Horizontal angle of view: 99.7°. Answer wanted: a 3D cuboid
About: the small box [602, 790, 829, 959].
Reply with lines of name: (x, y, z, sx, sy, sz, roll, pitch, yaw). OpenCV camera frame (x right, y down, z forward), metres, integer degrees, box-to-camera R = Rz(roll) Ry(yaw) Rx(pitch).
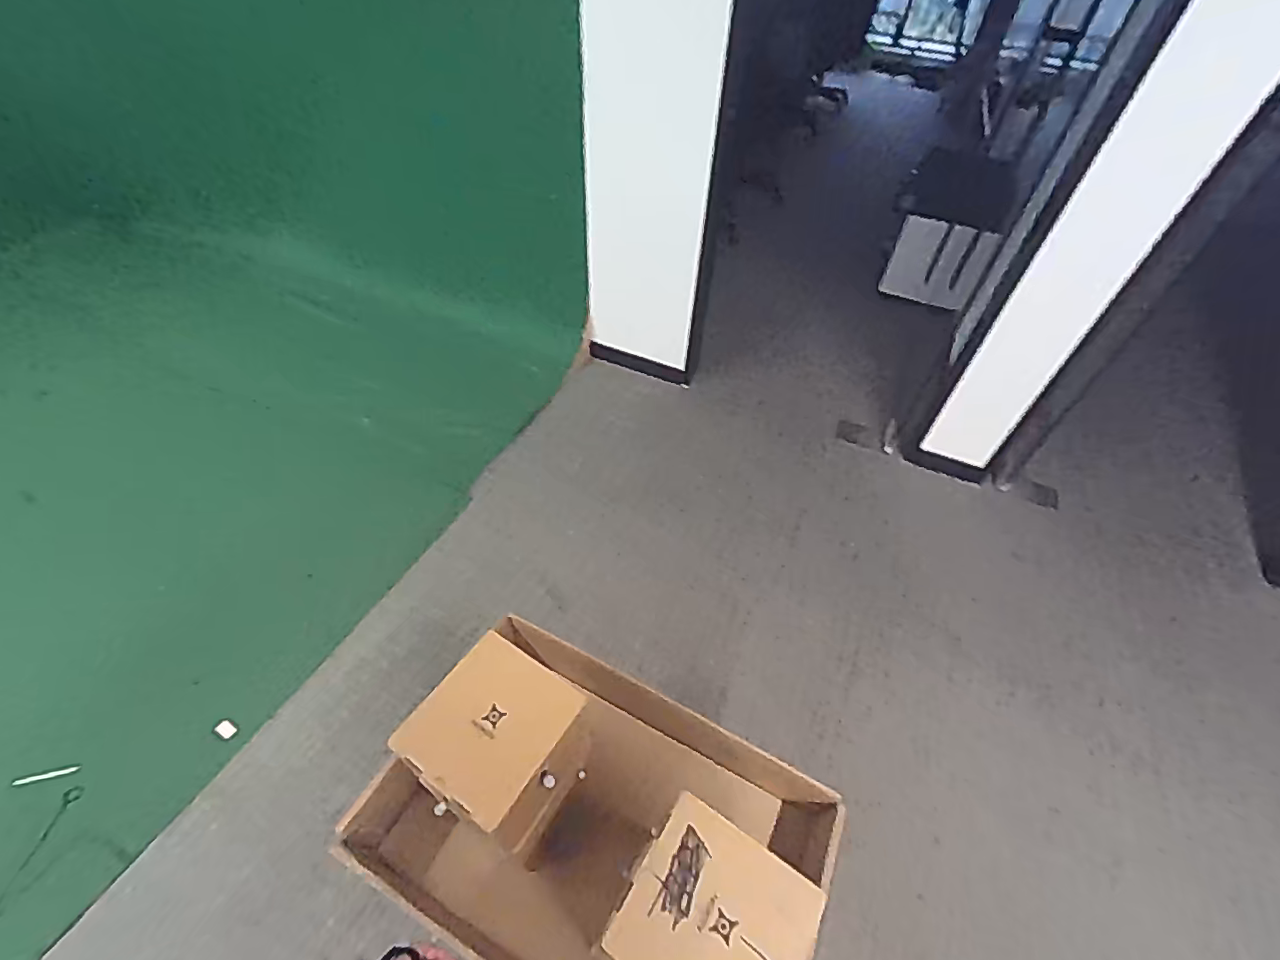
small box: (0.074, 0.489, 0.594, 0.179, 0.176, 0.168, 28, 52, 21)

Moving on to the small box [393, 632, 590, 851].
small box: (-0.181, 0.343, 0.710, 0.168, 0.176, 0.179, 28, 52, 20)
